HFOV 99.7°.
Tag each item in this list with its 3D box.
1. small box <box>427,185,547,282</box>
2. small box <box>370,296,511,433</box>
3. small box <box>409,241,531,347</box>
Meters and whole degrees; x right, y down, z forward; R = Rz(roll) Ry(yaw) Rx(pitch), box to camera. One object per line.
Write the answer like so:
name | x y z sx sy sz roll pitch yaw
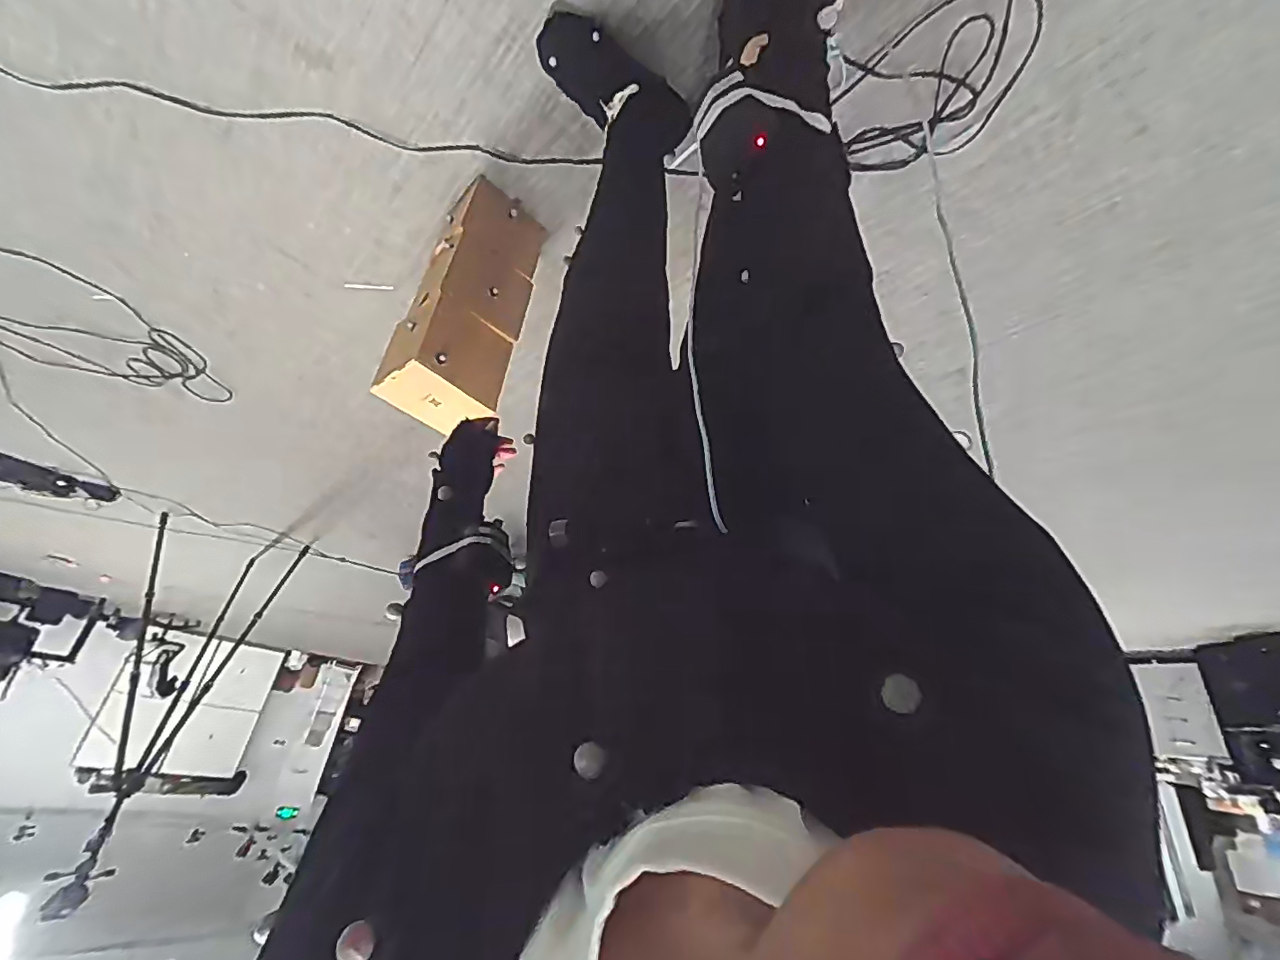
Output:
small box | -0.334 -0.513 1.197 0.179 0.176 0.168 30 148 -33
small box | -0.379 -0.220 1.053 0.168 0.176 0.179 -16 144 37
small box | -0.353 -0.364 1.125 0.168 0.176 0.179 -19 143 40
